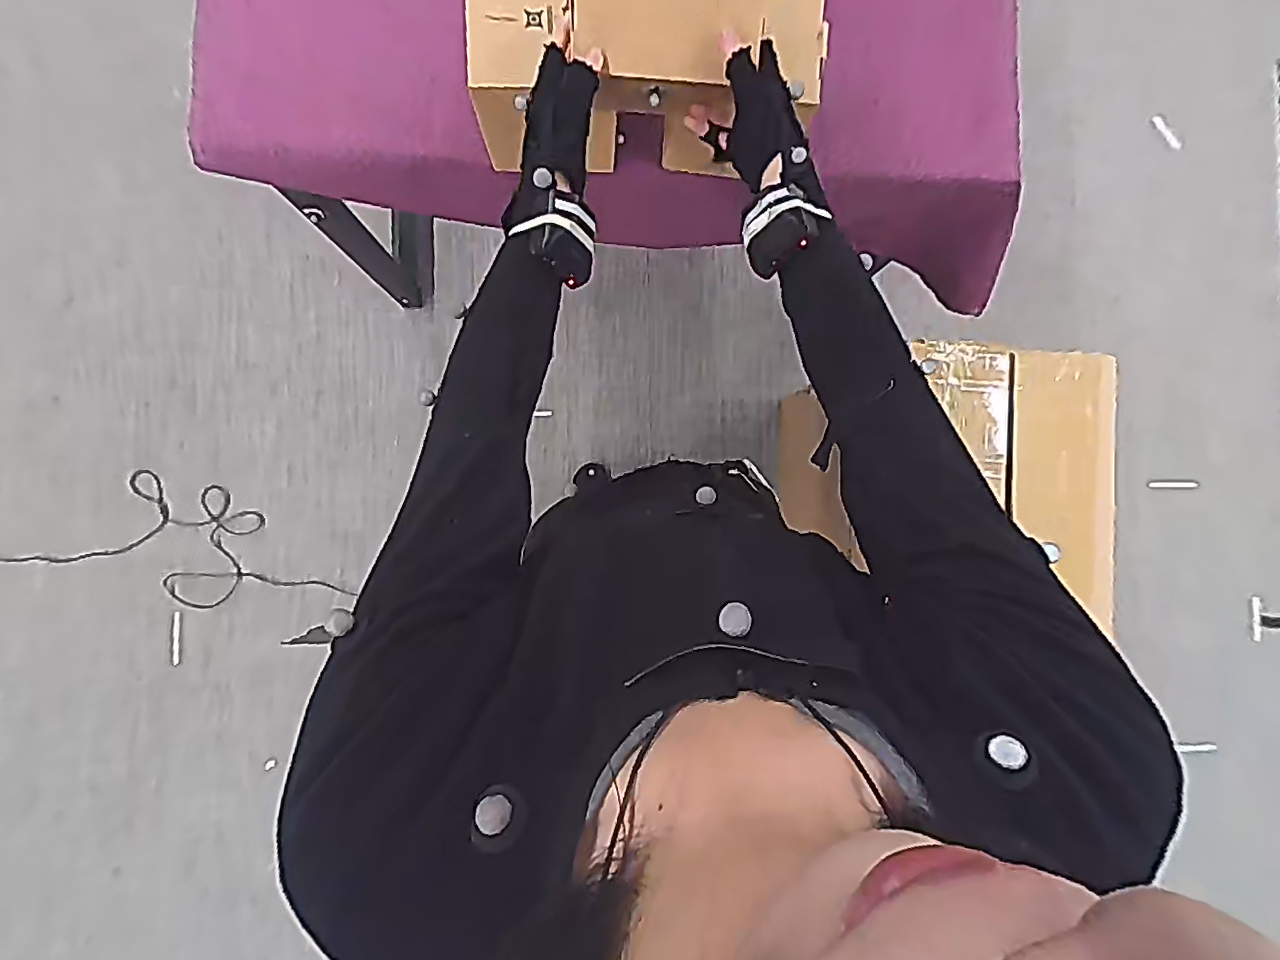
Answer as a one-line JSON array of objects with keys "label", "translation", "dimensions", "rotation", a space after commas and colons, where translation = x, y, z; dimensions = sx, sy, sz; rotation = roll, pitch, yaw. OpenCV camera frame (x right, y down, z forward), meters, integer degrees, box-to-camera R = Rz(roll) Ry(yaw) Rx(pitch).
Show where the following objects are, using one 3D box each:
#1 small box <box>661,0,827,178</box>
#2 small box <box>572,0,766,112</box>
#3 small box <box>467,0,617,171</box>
[{"label": "small box", "translation": [0.131, -0.540, 0.732], "dimensions": [0.179, 0.176, 0.168], "rotation": [4, 88, -5]}, {"label": "small box", "translation": [0.021, -0.483, 0.541], "dimensions": [0.179, 0.176, 0.168], "rotation": [-1, 116, -7]}, {"label": "small box", "translation": [-0.119, -0.534, 0.711], "dimensions": [0.179, 0.176, 0.168], "rotation": [-2, 88, -3]}]
